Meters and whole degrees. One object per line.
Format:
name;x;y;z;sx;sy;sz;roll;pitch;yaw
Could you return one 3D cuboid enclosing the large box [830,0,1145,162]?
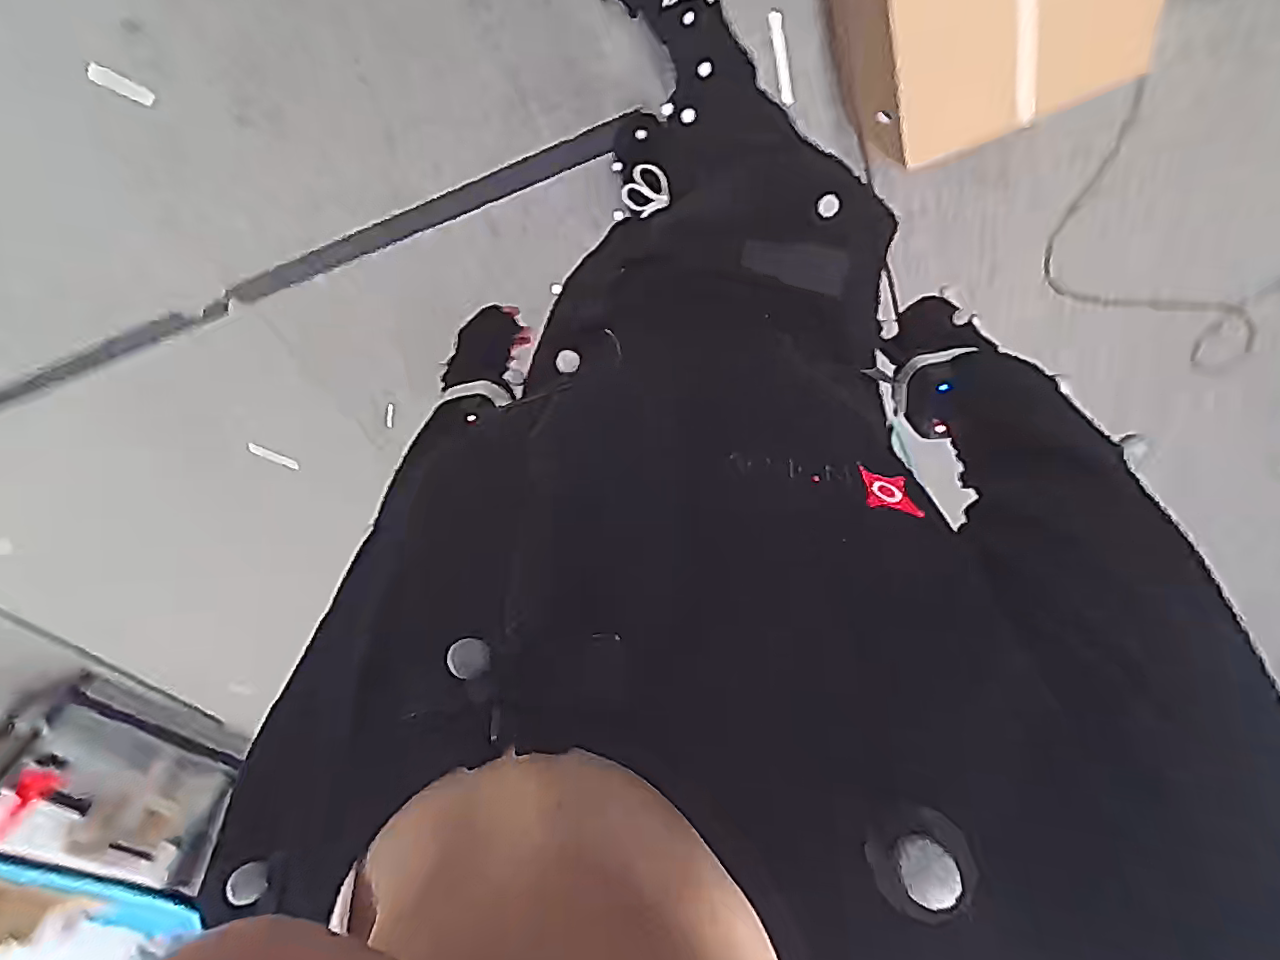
large box;0.452;-0.753;0.760;0.320;0.320;0.408;-18;130;16
